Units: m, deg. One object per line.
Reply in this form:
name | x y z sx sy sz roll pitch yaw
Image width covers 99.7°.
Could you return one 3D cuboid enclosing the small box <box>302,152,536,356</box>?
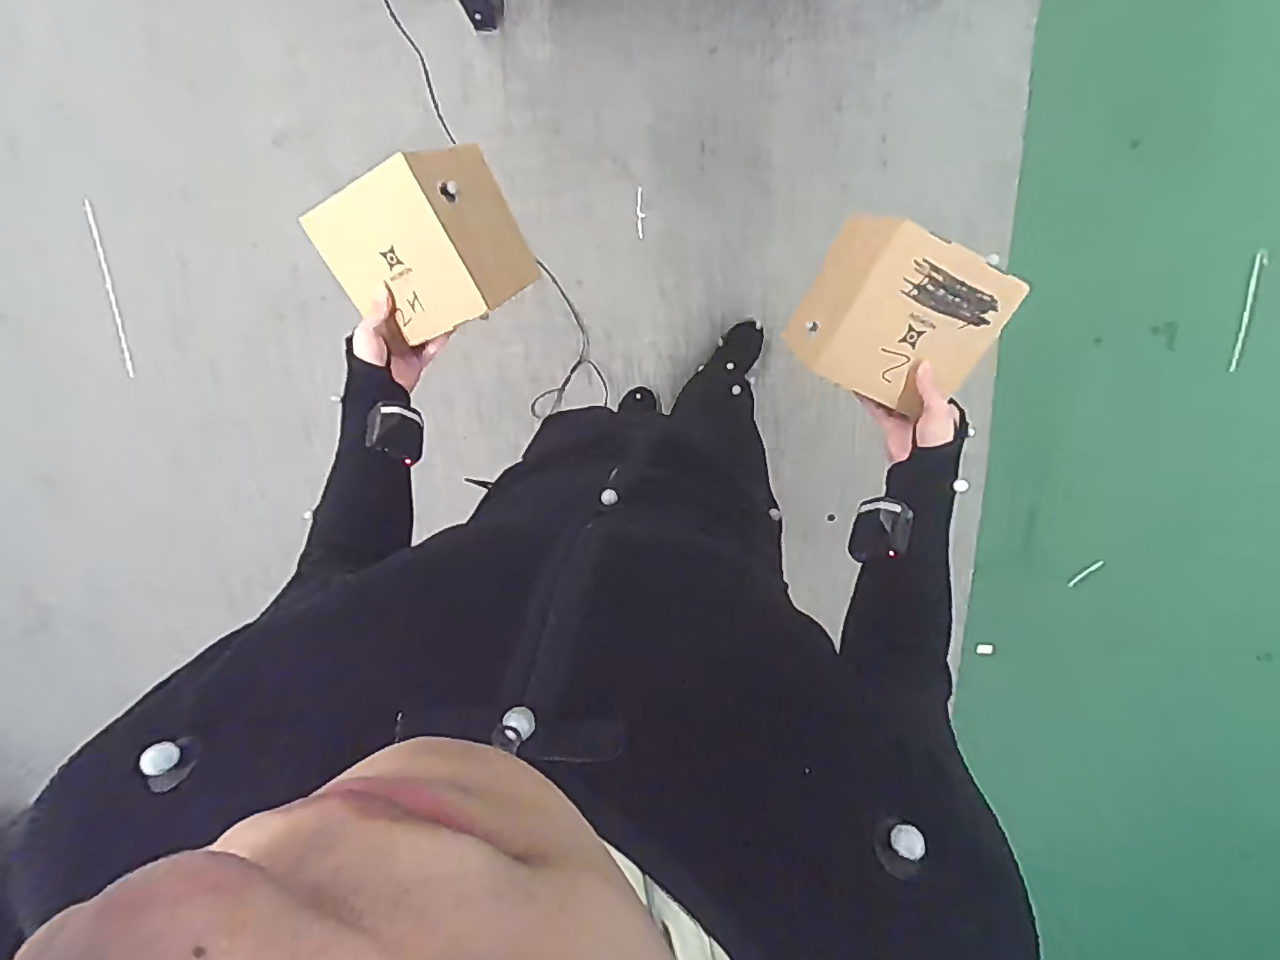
small box | -0.261 -0.287 0.681 0.168 0.176 0.179 -15 118 24
